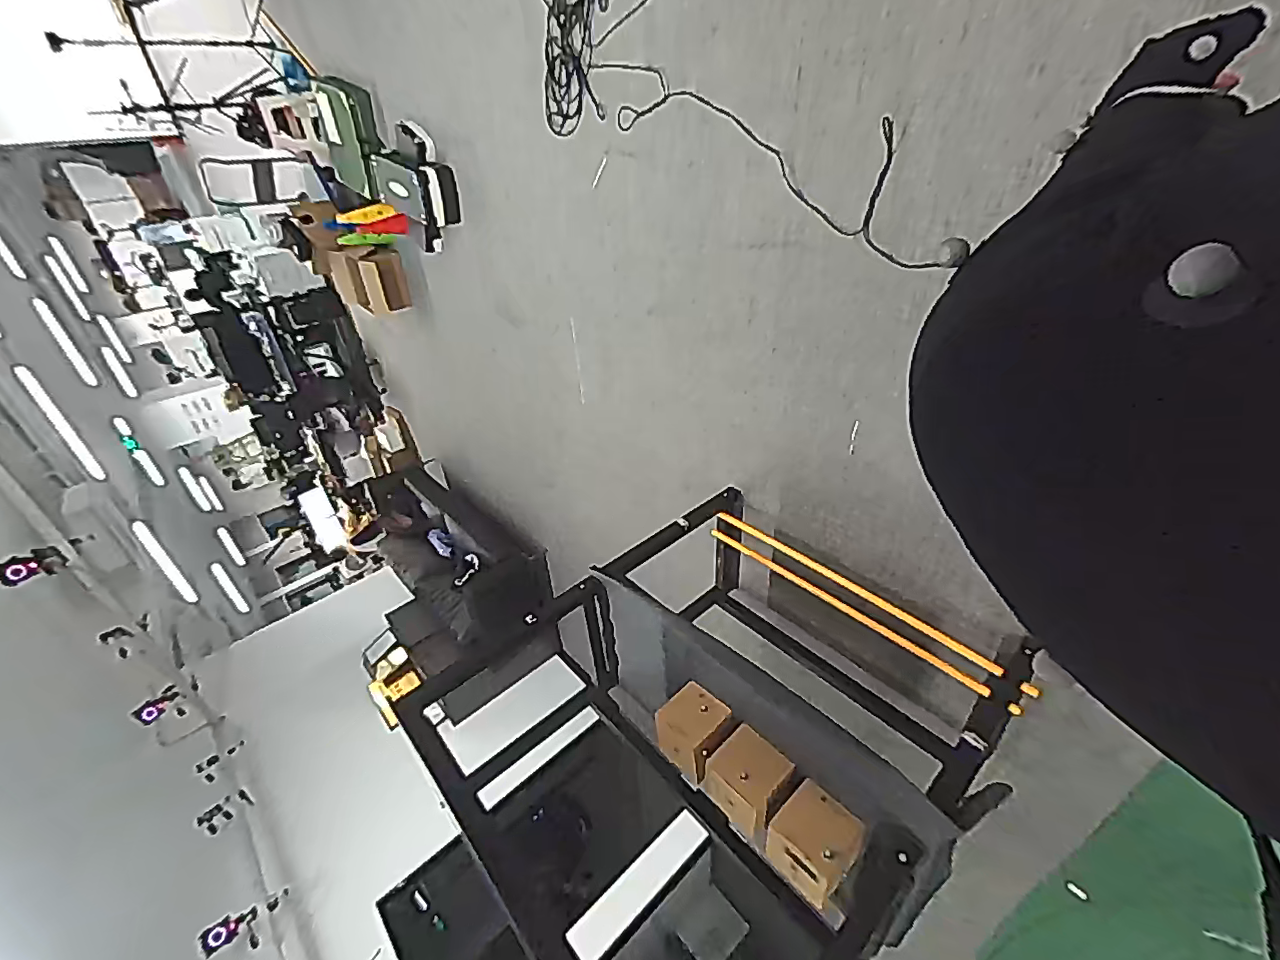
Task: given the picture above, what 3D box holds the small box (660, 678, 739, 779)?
[{"bbox_3d":[0.185,0.739,1.624,0.168,0.176,0.179,24,132,44],"label":"small box"}]
